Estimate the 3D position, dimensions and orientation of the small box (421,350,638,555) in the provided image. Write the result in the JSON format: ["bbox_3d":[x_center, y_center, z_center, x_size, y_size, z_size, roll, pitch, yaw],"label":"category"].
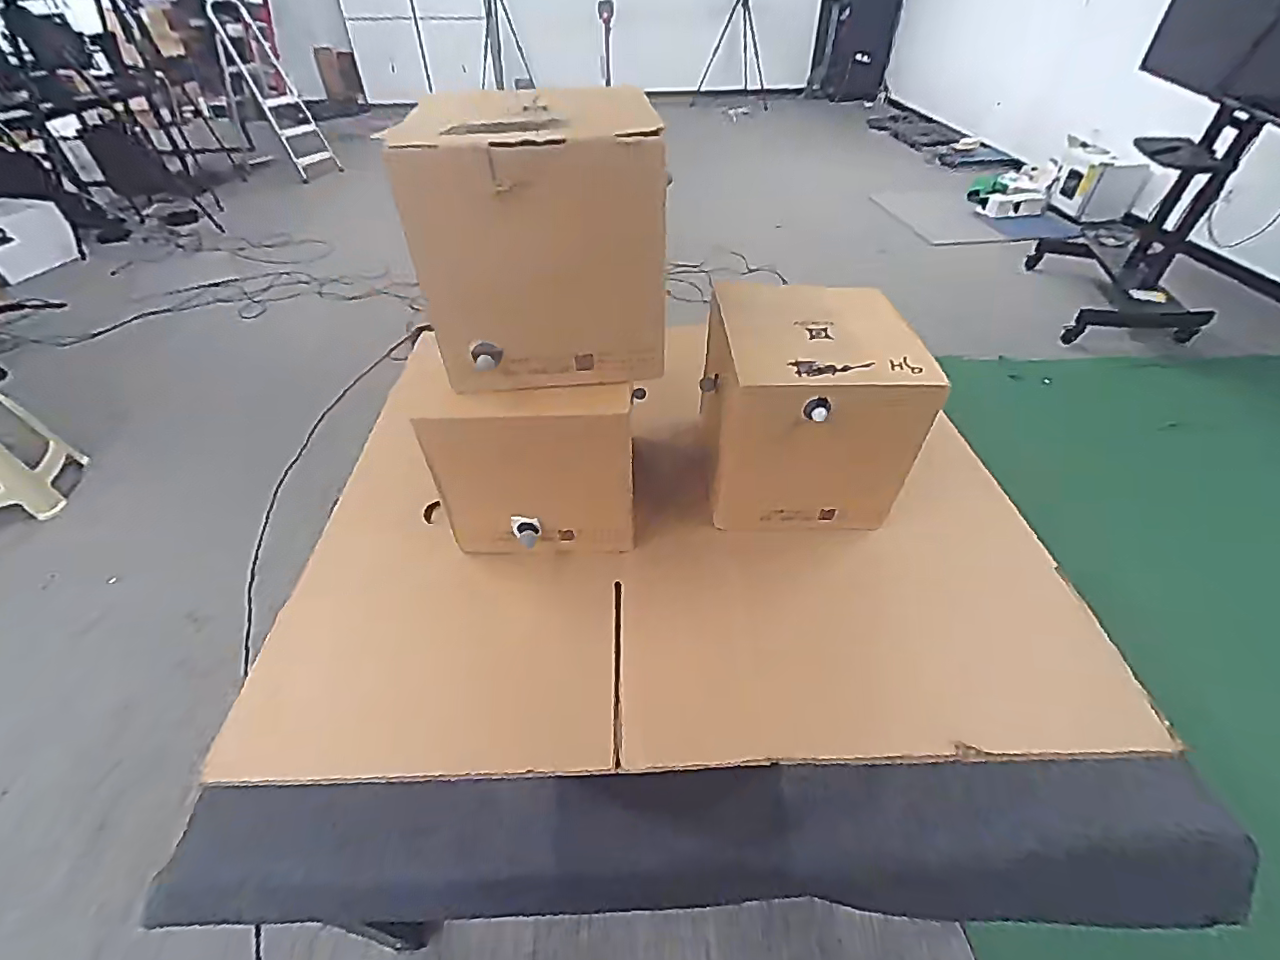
[{"bbox_3d":[-0.087,-0.047,0.525,0.168,0.176,0.179,-3,45,0],"label":"small box"}]

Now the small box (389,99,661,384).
[{"bbox_3d":[-0.072,-0.188,0.435,0.168,0.176,0.179,-4,42,-3],"label":"small box"}]

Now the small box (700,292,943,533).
[{"bbox_3d":[0.153,-0.068,0.534,0.168,0.176,0.179,0,43,-1],"label":"small box"}]
